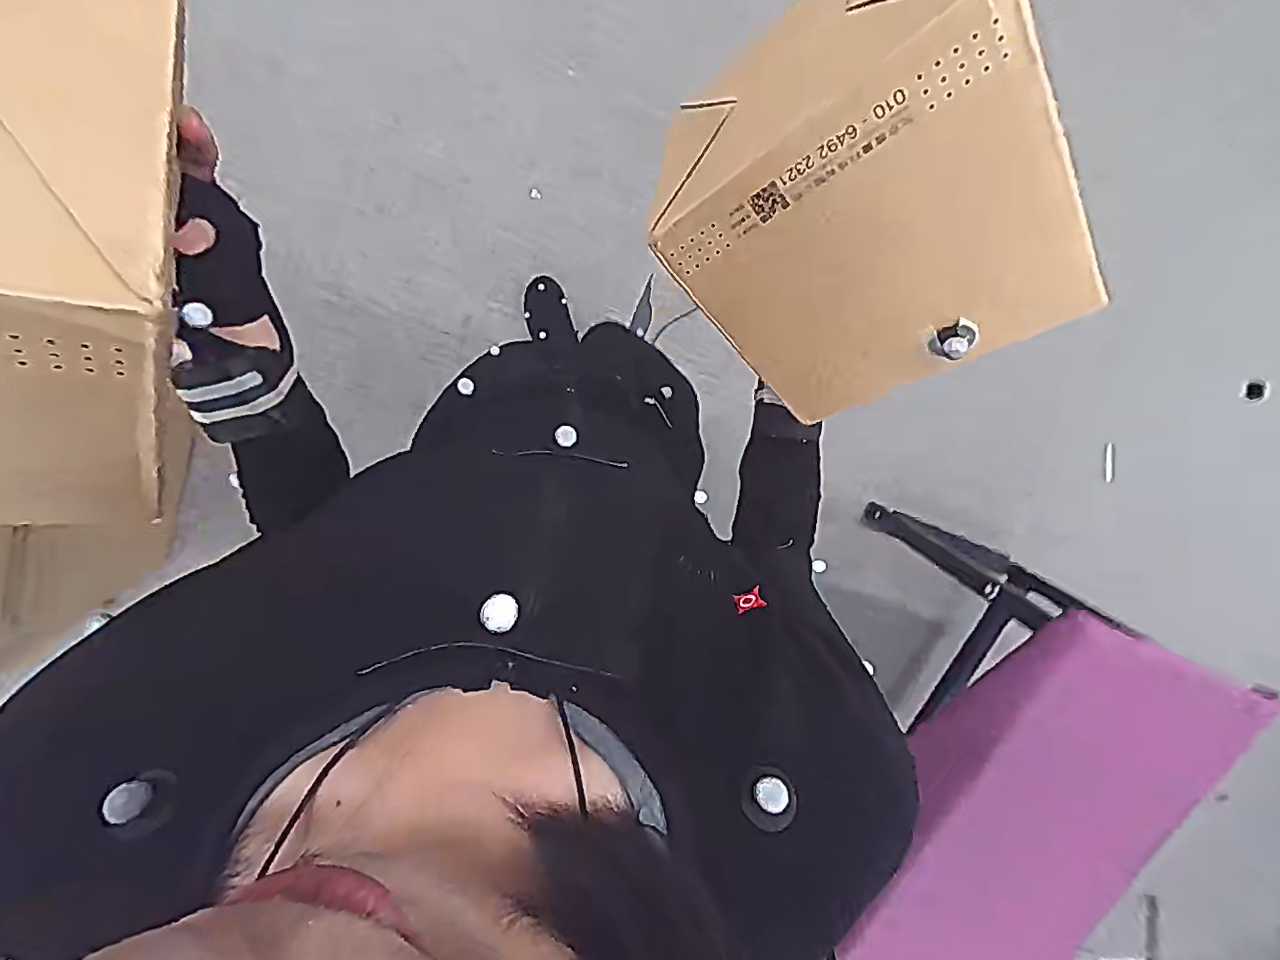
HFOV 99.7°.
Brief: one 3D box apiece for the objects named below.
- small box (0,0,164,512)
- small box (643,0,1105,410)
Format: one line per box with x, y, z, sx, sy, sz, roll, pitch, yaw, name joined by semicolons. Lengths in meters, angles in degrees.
-0.259;-0.098;0.168;0.168;0.176;0.179;1;66;-39;small box
0.121;-0.179;0.310;0.168;0.179;0.176;-24;133;39;small box
